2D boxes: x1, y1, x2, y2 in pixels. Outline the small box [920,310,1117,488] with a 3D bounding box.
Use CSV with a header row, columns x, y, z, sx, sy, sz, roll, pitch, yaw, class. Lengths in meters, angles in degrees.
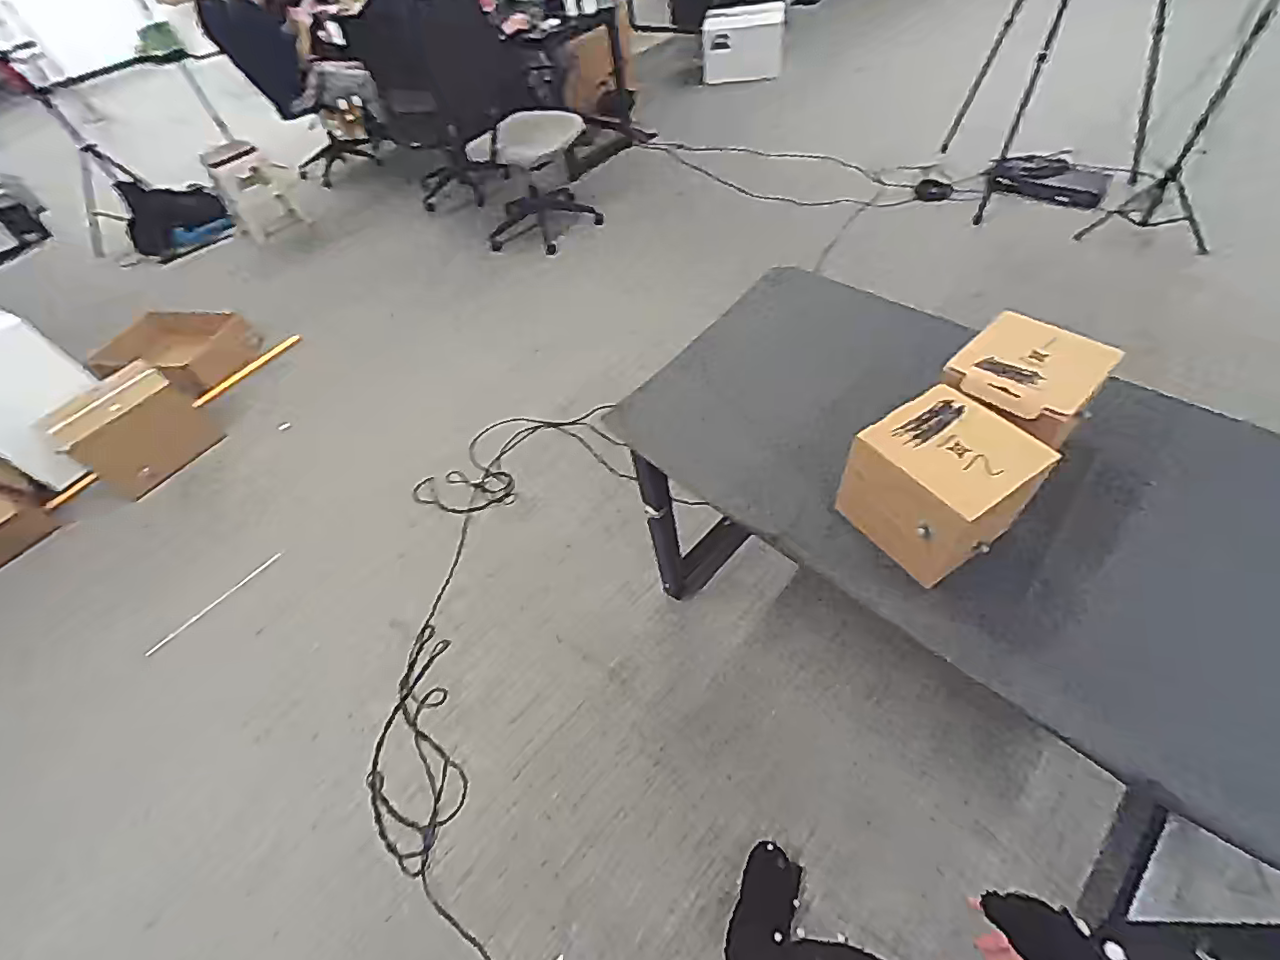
x,y,z,sx,sy,sz,roll,pitch,yaw,class
0.555,-0.119,0.821,0.179,0.176,0.168,-38,56,-20,small box
